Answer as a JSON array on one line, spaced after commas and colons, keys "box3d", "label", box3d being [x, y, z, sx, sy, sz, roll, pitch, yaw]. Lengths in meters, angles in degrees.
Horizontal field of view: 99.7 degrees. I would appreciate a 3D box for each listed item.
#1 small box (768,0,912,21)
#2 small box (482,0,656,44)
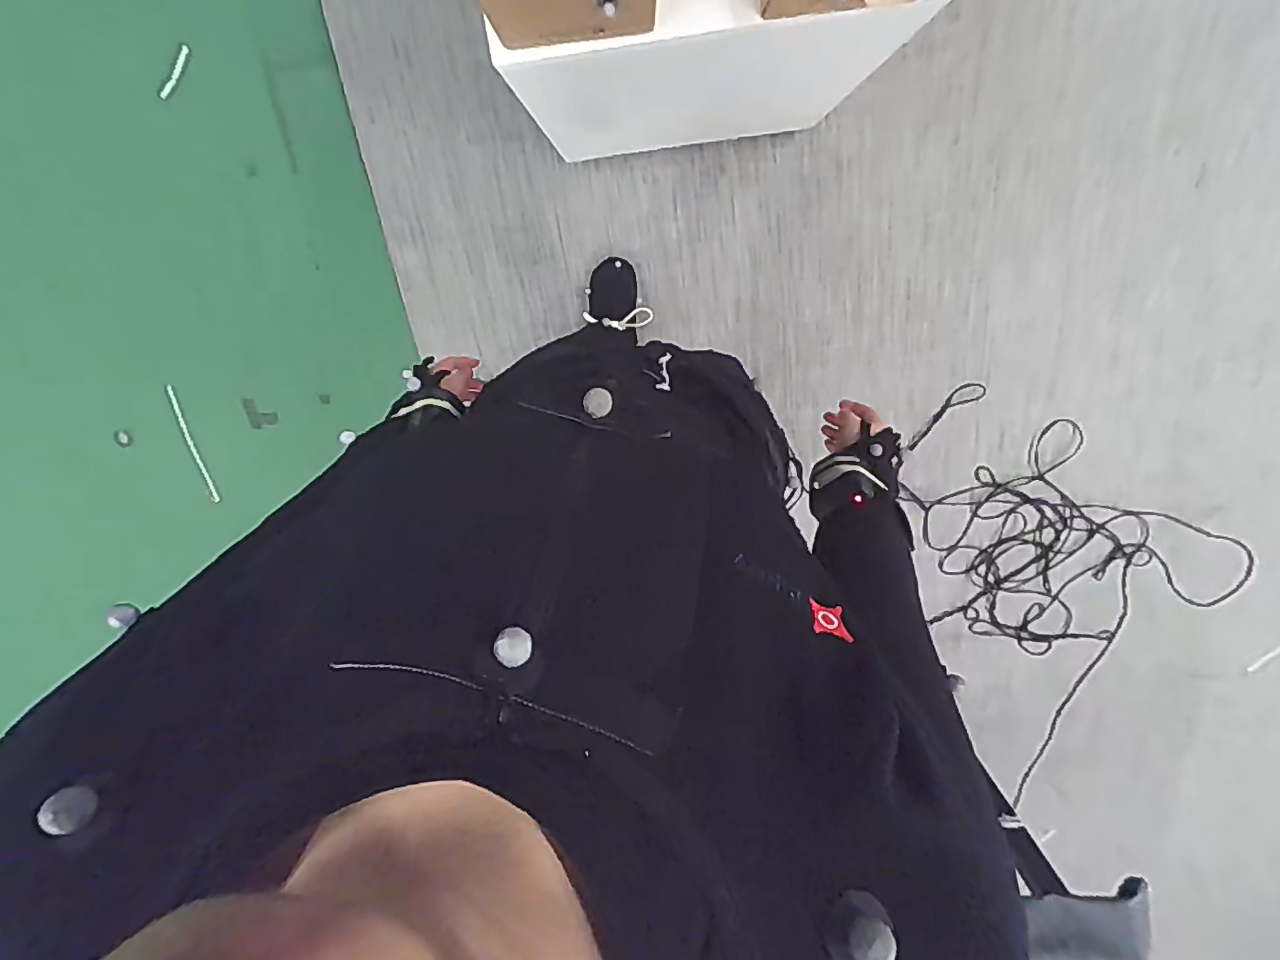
[{"box3d": [0.203, -0.550, 0.469, 0.168, 0.176, 0.179, -5, 110, 3], "label": "small box"}, {"box3d": [-0.072, -0.526, 0.483, 0.168, 0.176, 0.179, -6, 108, 1], "label": "small box"}]
